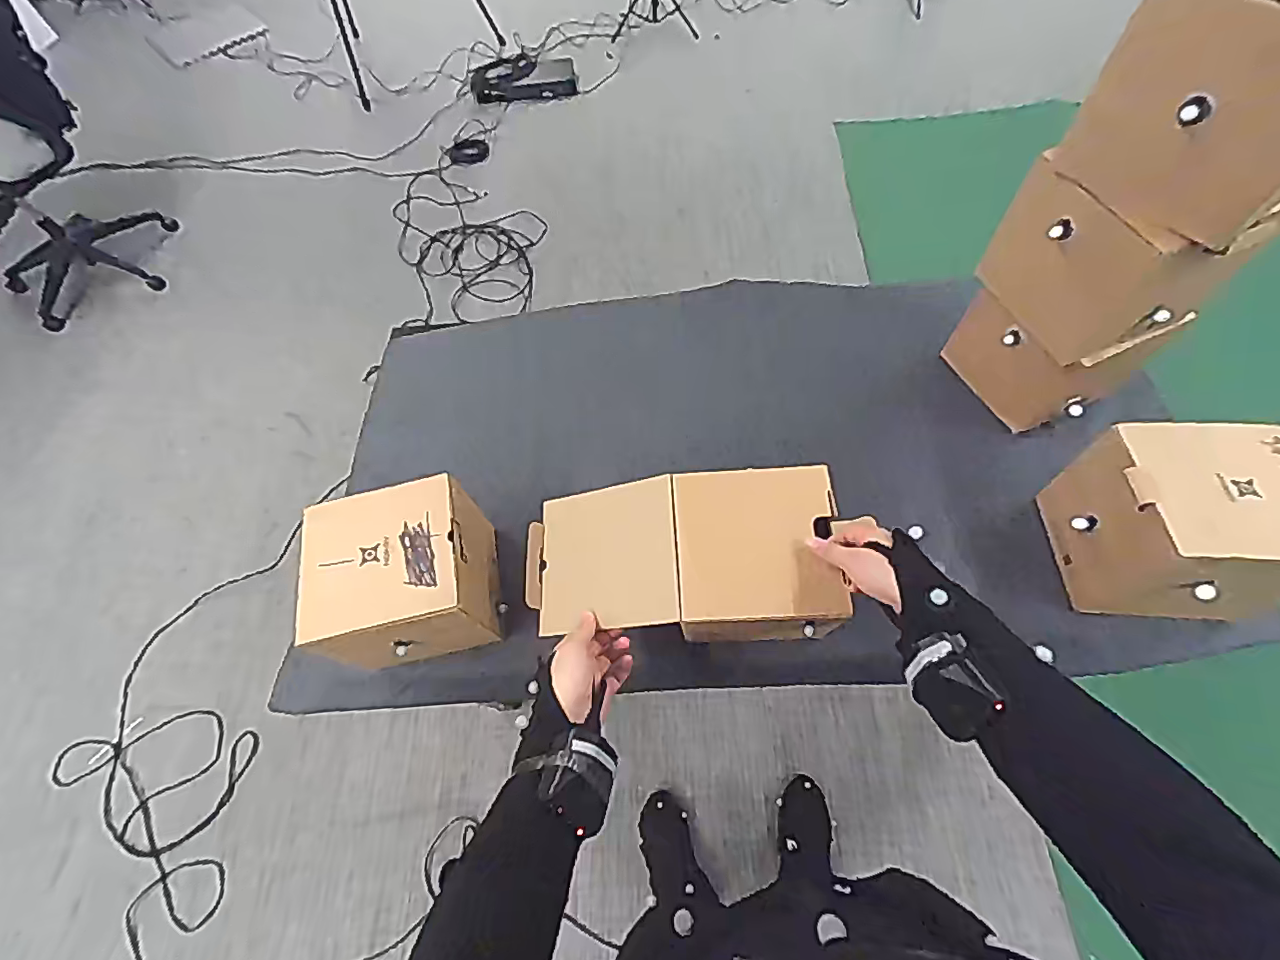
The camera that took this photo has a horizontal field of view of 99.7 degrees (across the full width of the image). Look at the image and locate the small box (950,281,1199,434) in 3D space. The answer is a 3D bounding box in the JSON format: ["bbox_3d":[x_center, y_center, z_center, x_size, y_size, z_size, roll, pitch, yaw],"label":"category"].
[{"bbox_3d":[0.579,-0.197,0.755,0.168,0.176,0.179,-24,64,-4],"label":"small box"}]

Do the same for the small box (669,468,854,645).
[{"bbox_3d":[0.131,0.099,0.639,0.179,0.176,0.168,-4,67,4],"label":"small box"}]

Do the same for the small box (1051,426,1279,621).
[{"bbox_3d":[0.612,0.054,0.615,0.179,0.176,0.168,1,58,7],"label":"small box"}]

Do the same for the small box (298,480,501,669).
[{"bbox_3d":[-0.280,0.124,0.667,0.179,0.176,0.168,-13,63,-1],"label":"small box"}]

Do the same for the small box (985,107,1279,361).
[{"bbox_3d":[0.541,-0.269,0.611,0.168,0.176,0.179,-21,63,-2],"label":"small box"}]
